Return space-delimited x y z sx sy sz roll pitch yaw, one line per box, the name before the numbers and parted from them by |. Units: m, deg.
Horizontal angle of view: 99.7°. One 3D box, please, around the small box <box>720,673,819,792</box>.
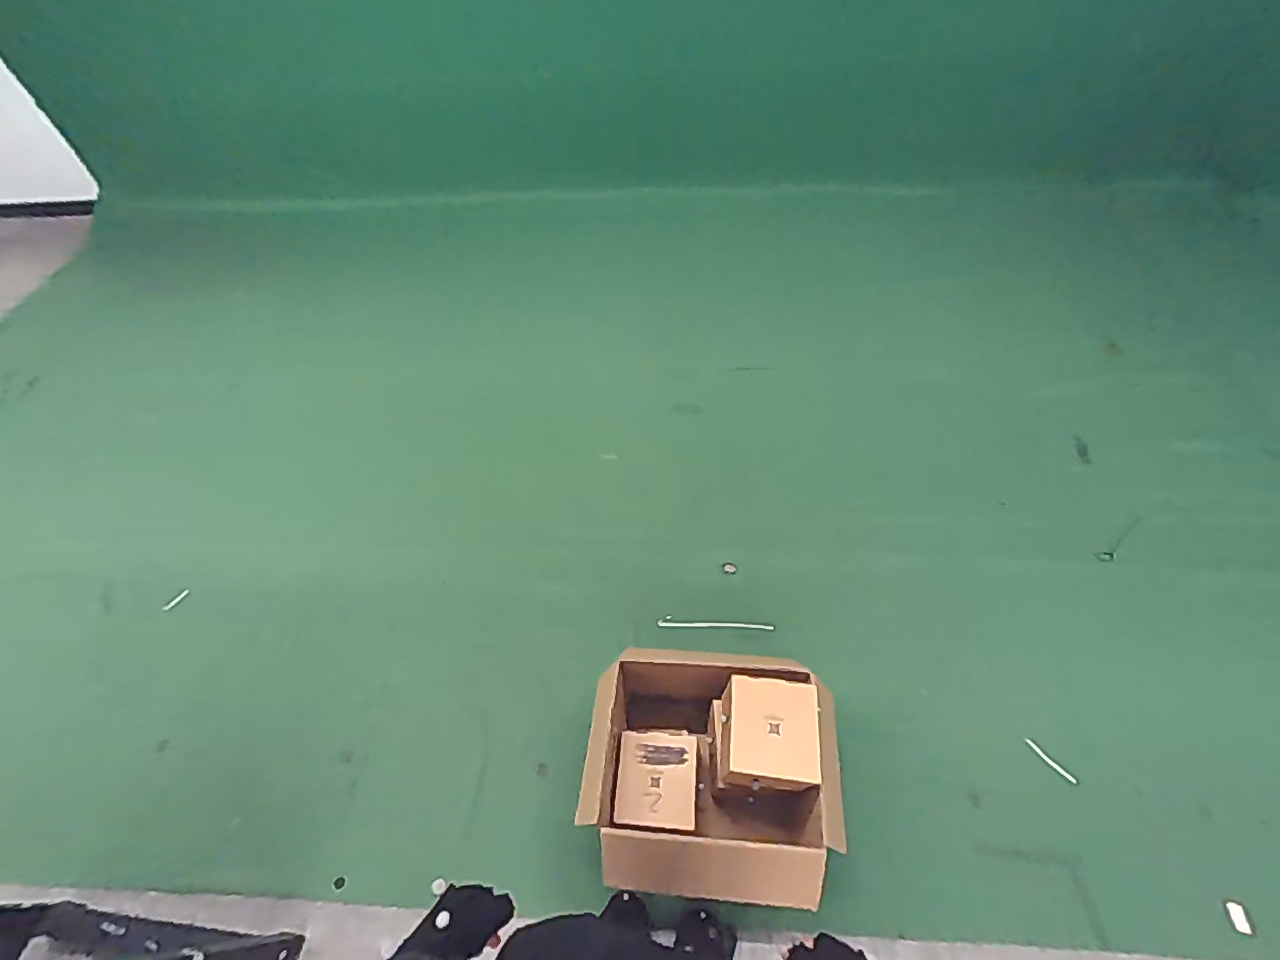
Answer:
small box | 0.251 0.507 1.076 0.168 0.176 0.179 5 54 5
